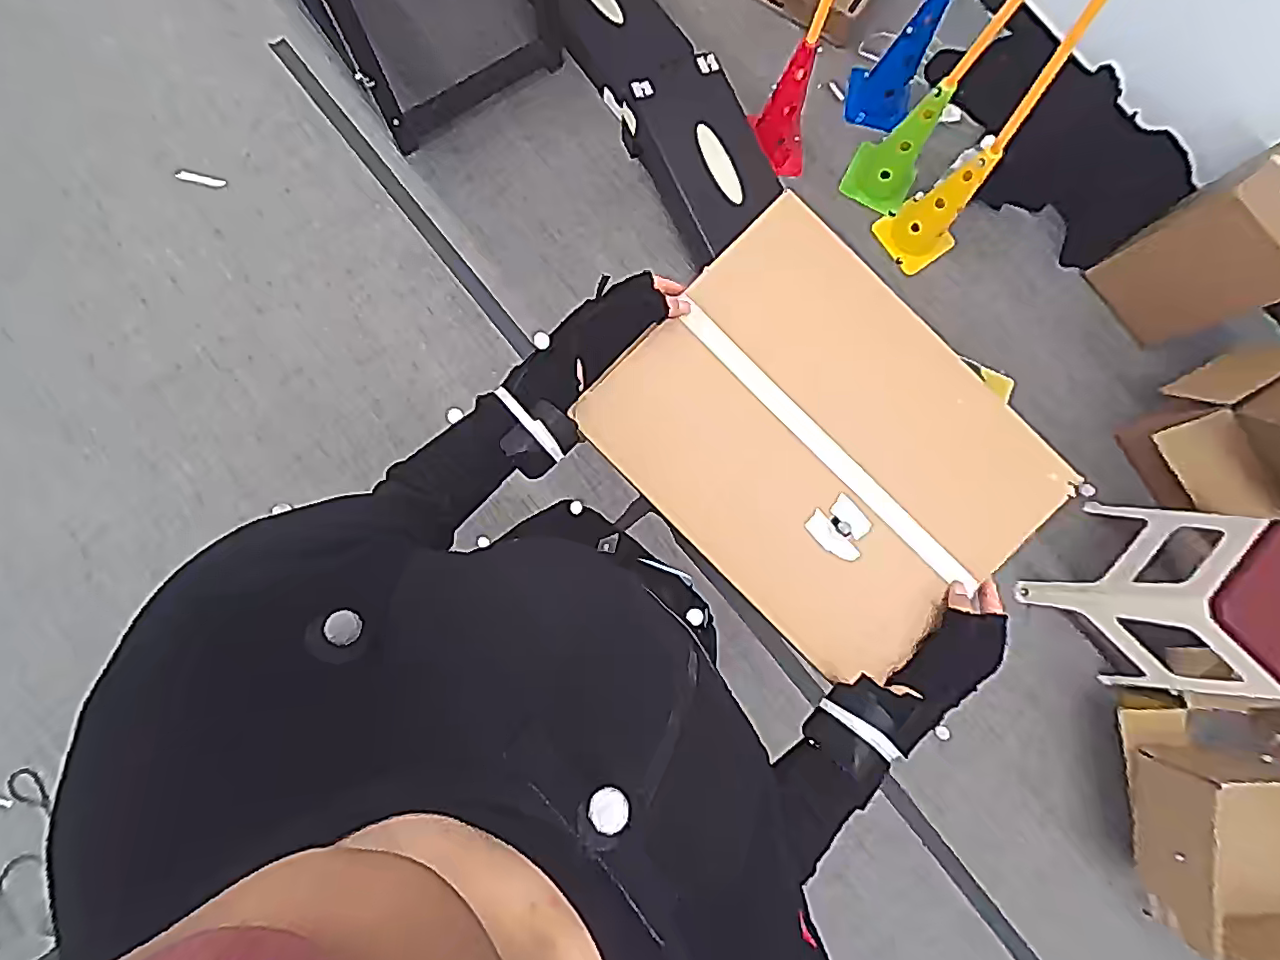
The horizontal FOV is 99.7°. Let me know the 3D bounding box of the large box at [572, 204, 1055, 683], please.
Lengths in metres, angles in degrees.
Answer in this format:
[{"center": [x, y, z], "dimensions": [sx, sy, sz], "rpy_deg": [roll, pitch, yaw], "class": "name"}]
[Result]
[{"center": [0.171, -0.037, 0.690], "dimensions": [0.320, 0.320, 0.408], "rpy_deg": [-45, 91, 0], "class": "large box"}]
